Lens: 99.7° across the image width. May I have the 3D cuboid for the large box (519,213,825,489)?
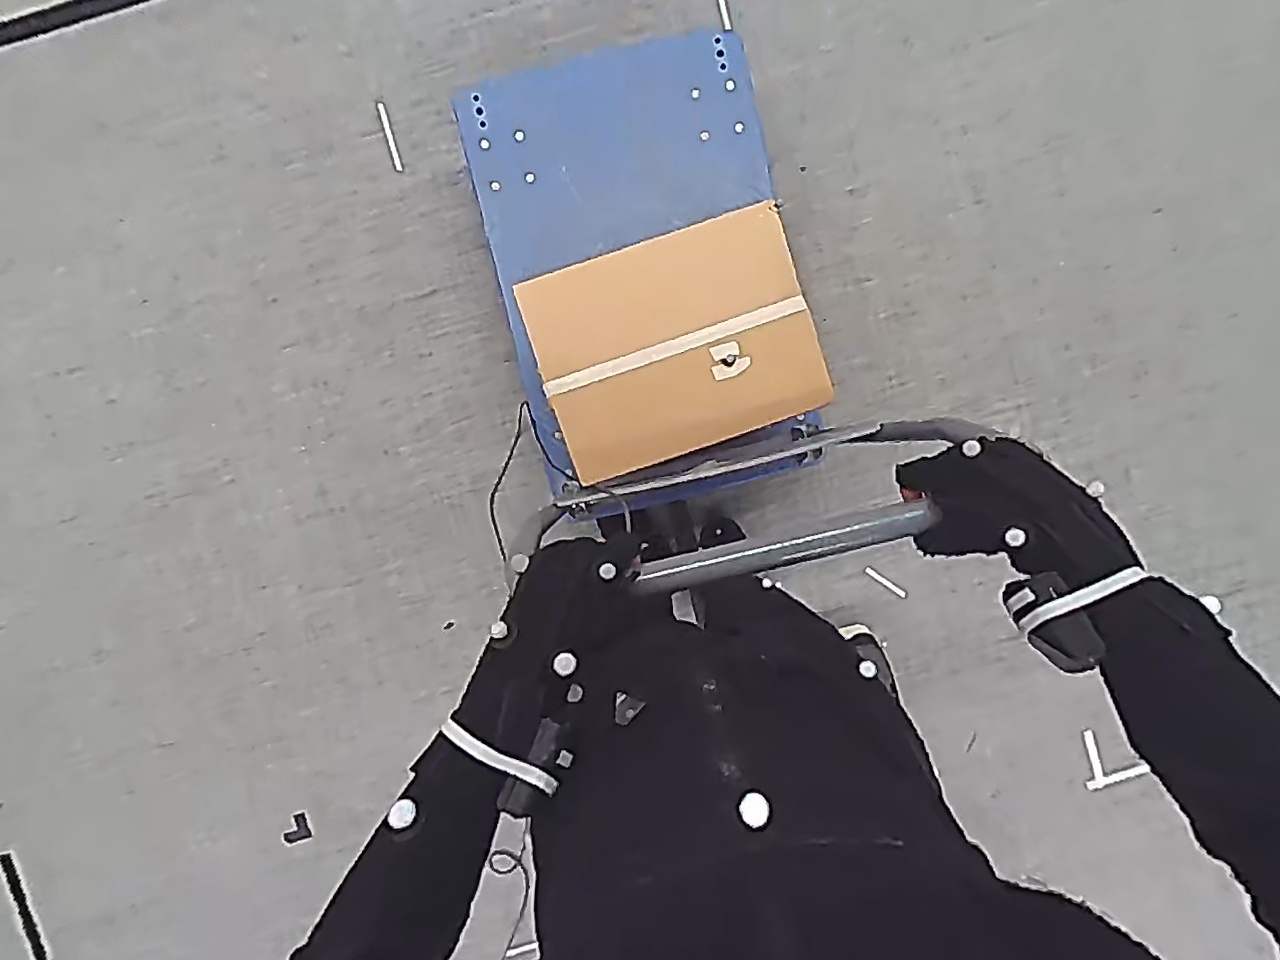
[{"bbox_3d":[0.046,-0.203,0.970,0.408,0.320,0.320,-19,95,-1],"label":"large box"}]
